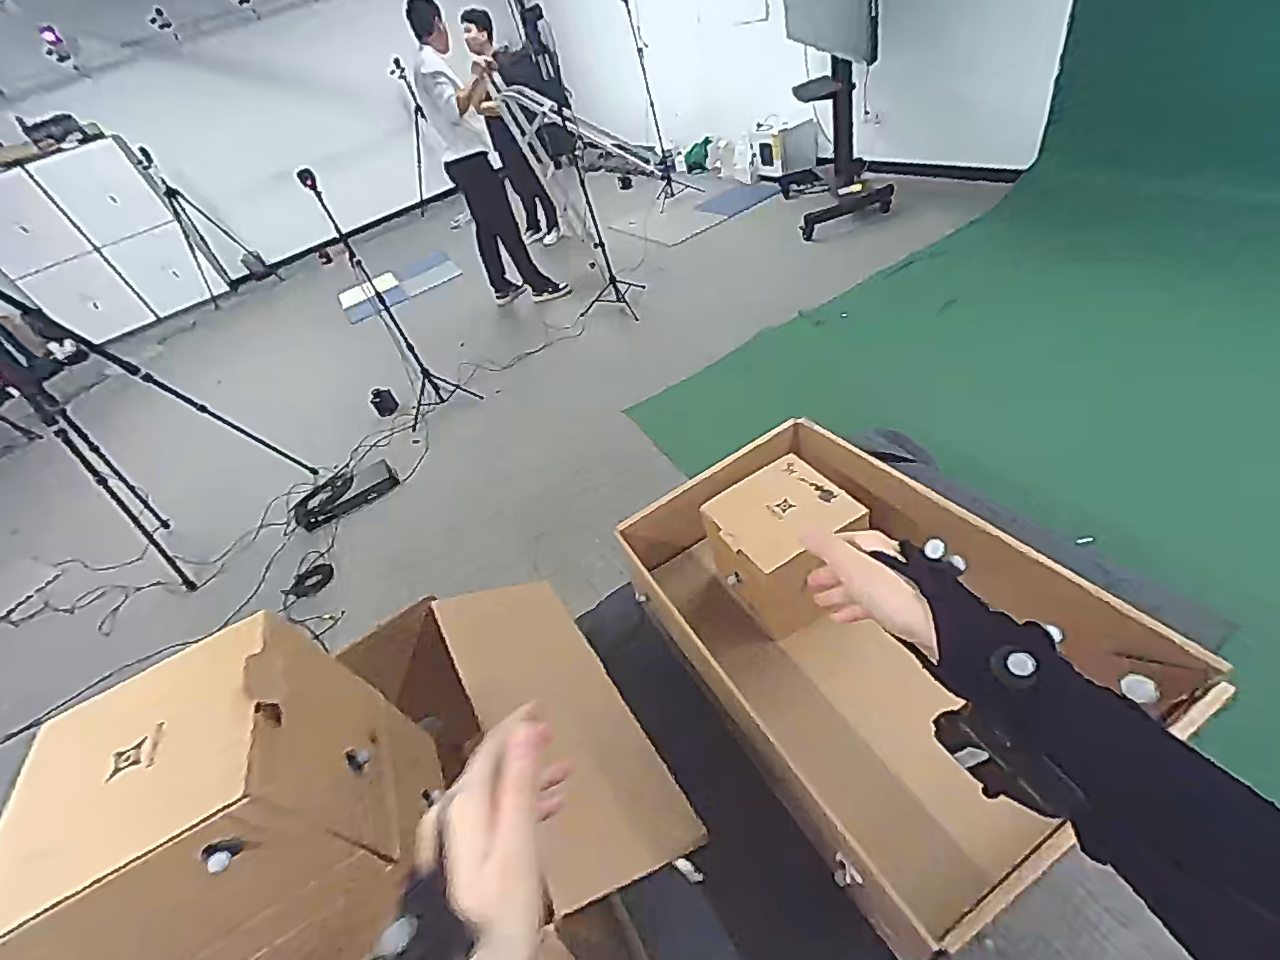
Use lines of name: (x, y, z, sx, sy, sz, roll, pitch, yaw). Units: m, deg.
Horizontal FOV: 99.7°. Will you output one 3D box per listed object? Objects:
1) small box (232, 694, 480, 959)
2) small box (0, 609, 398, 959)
small box: (-0.283, 0.359, 0.535, 0.168, 0.176, 0.179, -29, 44, -11)
small box: (-0.322, 0.245, 0.426, 0.179, 0.176, 0.168, -28, 42, -11)
